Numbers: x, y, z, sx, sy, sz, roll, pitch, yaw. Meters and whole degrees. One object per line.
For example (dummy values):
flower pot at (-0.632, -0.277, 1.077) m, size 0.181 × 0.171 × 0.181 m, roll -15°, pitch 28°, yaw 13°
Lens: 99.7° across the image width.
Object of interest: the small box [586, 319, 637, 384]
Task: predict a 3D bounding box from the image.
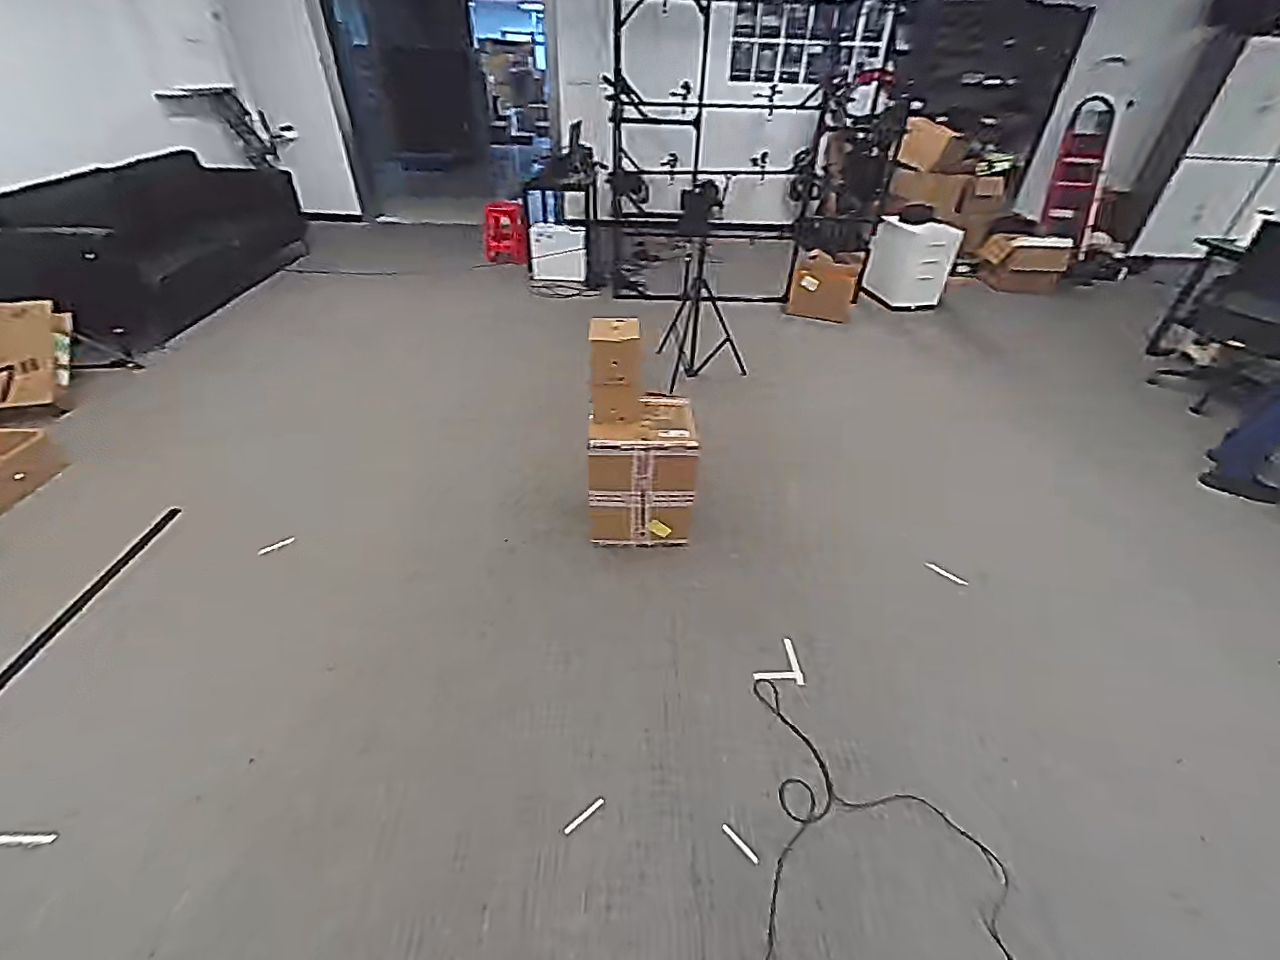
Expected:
small box at (-0.095, -0.445, 1.886) m, size 0.168 × 0.176 × 0.179 m, roll -1°, pitch 40°, yaw -1°

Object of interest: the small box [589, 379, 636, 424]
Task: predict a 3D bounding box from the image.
small box at (-0.100, -0.324, 1.997) m, size 0.168 × 0.176 × 0.179 m, roll -2°, pitch 40°, yaw -2°
